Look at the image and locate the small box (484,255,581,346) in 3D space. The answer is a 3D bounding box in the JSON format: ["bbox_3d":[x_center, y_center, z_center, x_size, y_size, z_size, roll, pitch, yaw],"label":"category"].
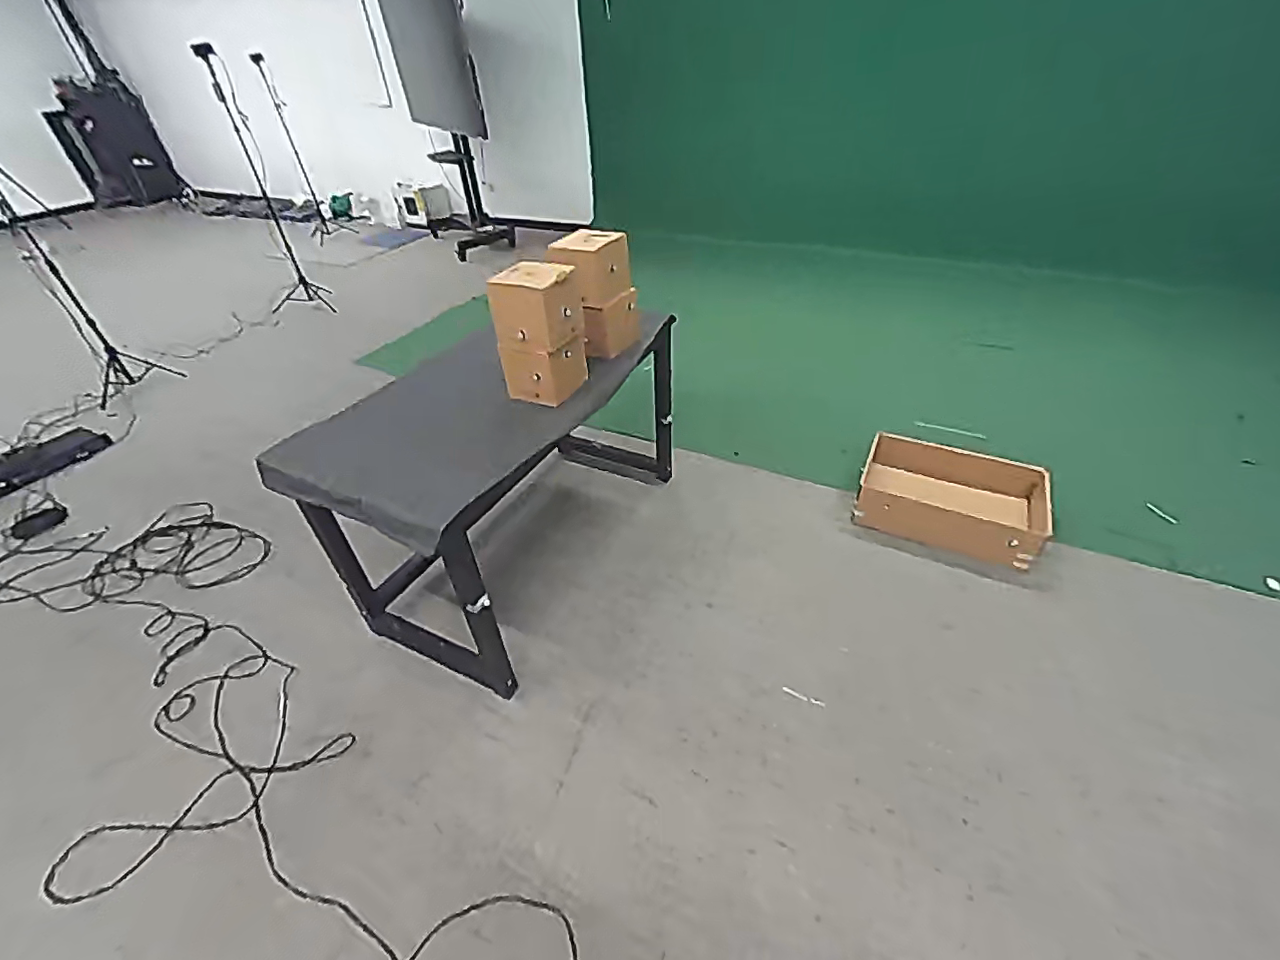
[{"bbox_3d":[-0.270,-0.465,1.404,0.179,0.176,0.168,16,43,21],"label":"small box"}]

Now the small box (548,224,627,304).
[{"bbox_3d":[-0.149,-0.648,1.615,0.168,0.176,0.179,18,45,25],"label":"small box"}]

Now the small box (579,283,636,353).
[{"bbox_3d":[-0.122,-0.526,1.723,0.168,0.176,0.179,18,45,26],"label":"small box"}]

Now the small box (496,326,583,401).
[{"bbox_3d":[-0.271,-0.342,1.513,0.168,0.176,0.179,16,42,21],"label":"small box"}]
